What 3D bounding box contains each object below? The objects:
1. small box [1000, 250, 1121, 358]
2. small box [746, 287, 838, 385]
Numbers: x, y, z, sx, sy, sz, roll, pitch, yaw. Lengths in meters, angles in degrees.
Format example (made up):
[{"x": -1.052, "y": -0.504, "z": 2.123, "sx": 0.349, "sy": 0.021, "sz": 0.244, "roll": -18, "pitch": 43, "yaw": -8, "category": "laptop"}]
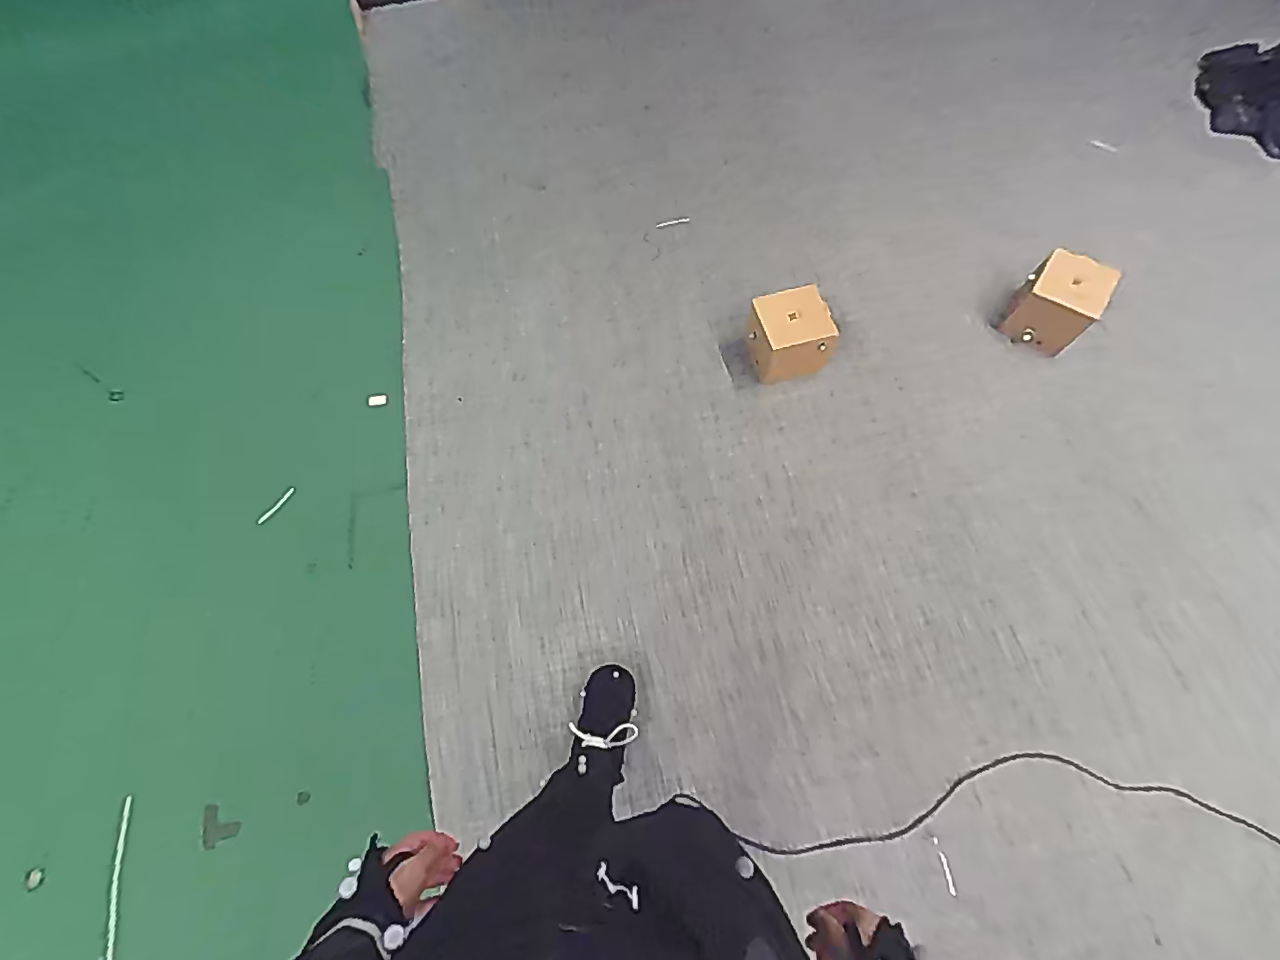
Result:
[{"x": 1.100, "y": -0.460, "z": 1.429, "sx": 0.168, "sy": 0.176, "sz": 0.179, "roll": 31, "pitch": 74, "yaw": 15, "category": "small box"}, {"x": 0.389, "y": -0.373, "z": 1.425, "sx": 0.179, "sy": 0.176, "sz": 0.168, "roll": -15, "pitch": 68, "yaw": -4, "category": "small box"}]
